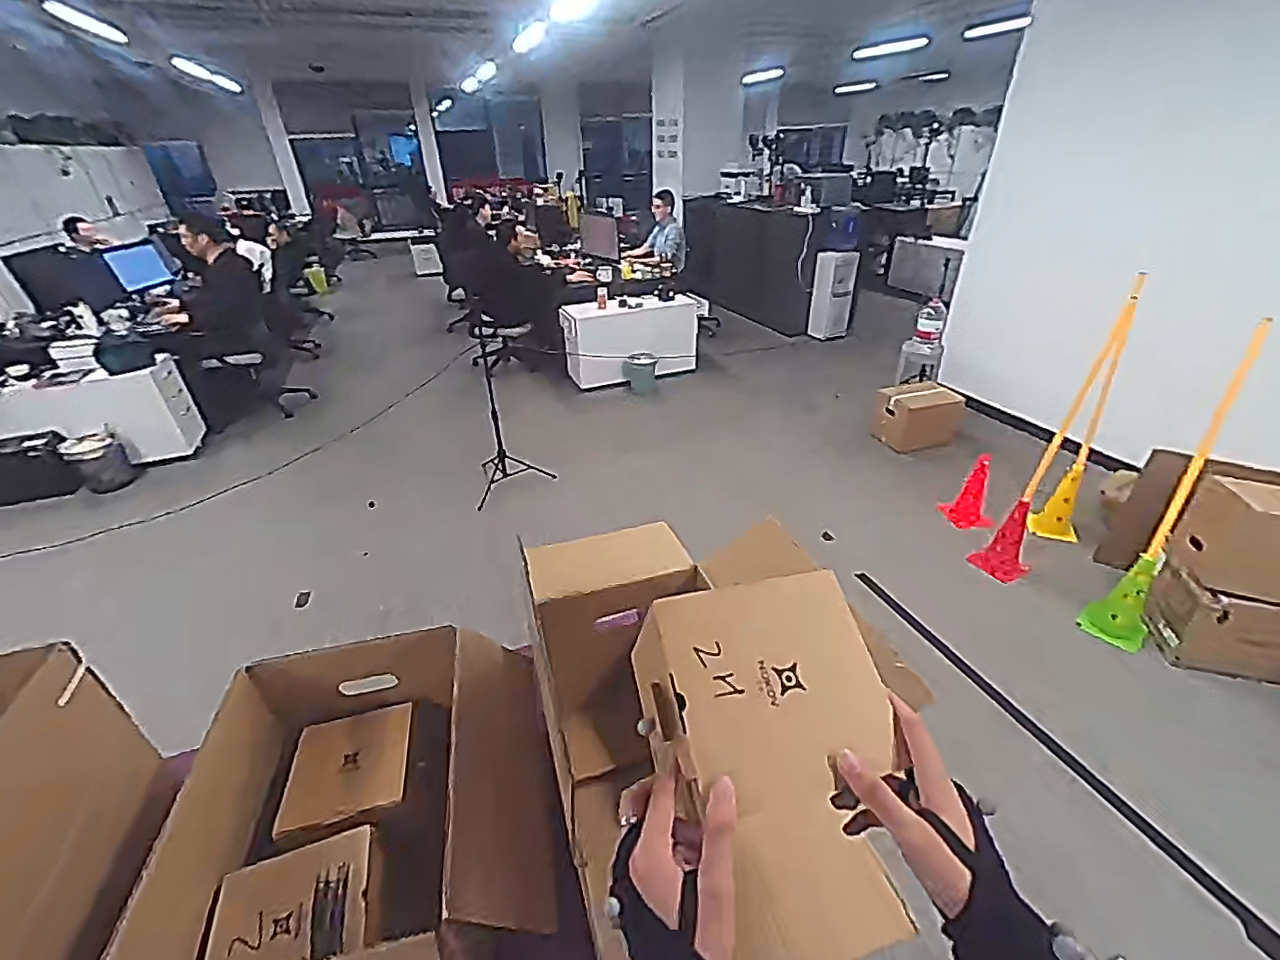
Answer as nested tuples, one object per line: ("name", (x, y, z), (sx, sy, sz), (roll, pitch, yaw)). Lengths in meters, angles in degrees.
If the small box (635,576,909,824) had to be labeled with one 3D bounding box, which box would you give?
("small box", (0.102, 0.208, 0.510), (0.179, 0.176, 0.168), (-8, 59, -12))
